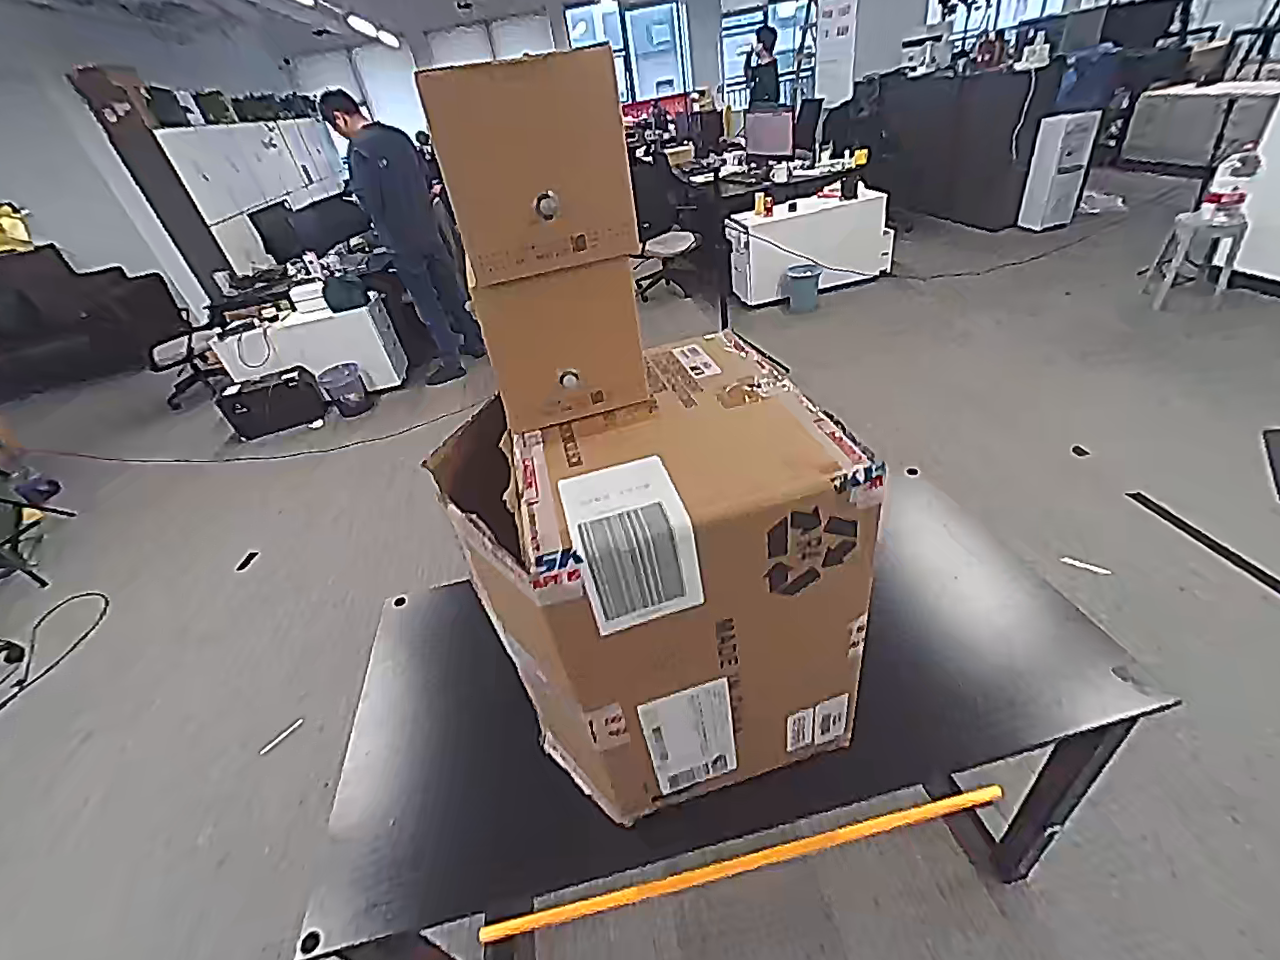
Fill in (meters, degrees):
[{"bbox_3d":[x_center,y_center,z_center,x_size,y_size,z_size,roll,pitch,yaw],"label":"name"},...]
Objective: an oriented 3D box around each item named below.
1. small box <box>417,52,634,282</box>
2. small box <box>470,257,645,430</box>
[{"bbox_3d":[-0.115,-0.315,0.557,0.168,0.176,0.179,-17,35,-10],"label":"small box"},{"bbox_3d":[-0.101,-0.182,0.655,0.168,0.176,0.179,-16,35,-9],"label":"small box"}]
